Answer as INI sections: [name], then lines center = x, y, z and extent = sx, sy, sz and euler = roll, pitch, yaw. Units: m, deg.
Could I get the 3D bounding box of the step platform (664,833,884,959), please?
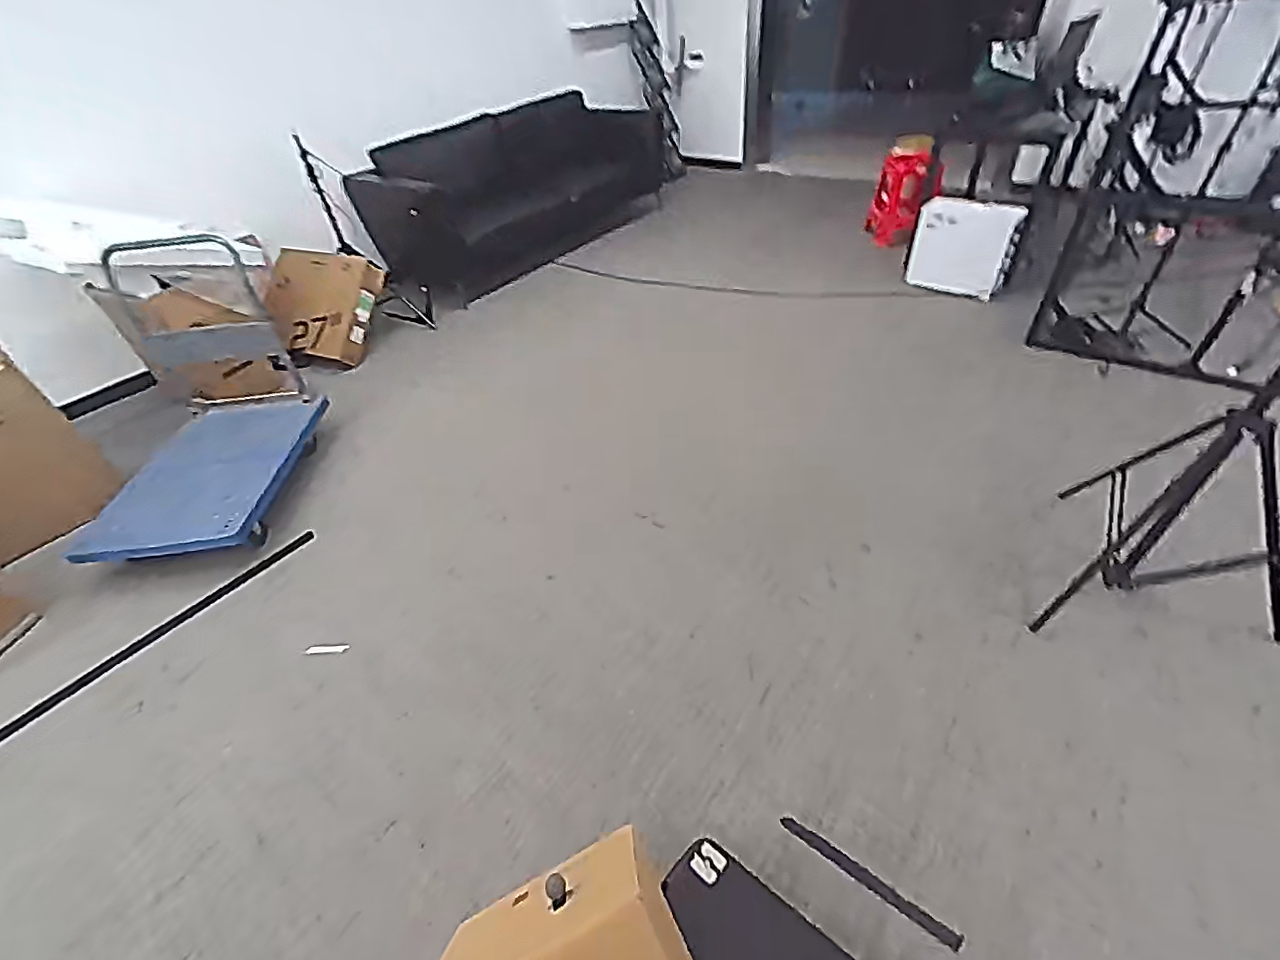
[step platform]
center = 0.314, 0.921, 0.864
extent = 0.684, 0.204, 0.286
euler = 24, 49, 31

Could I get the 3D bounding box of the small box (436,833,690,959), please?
[small box]
center = -0.042, 0.380, 0.372
extent = 0.168, 0.176, 0.179
euler = -26, 75, -11
